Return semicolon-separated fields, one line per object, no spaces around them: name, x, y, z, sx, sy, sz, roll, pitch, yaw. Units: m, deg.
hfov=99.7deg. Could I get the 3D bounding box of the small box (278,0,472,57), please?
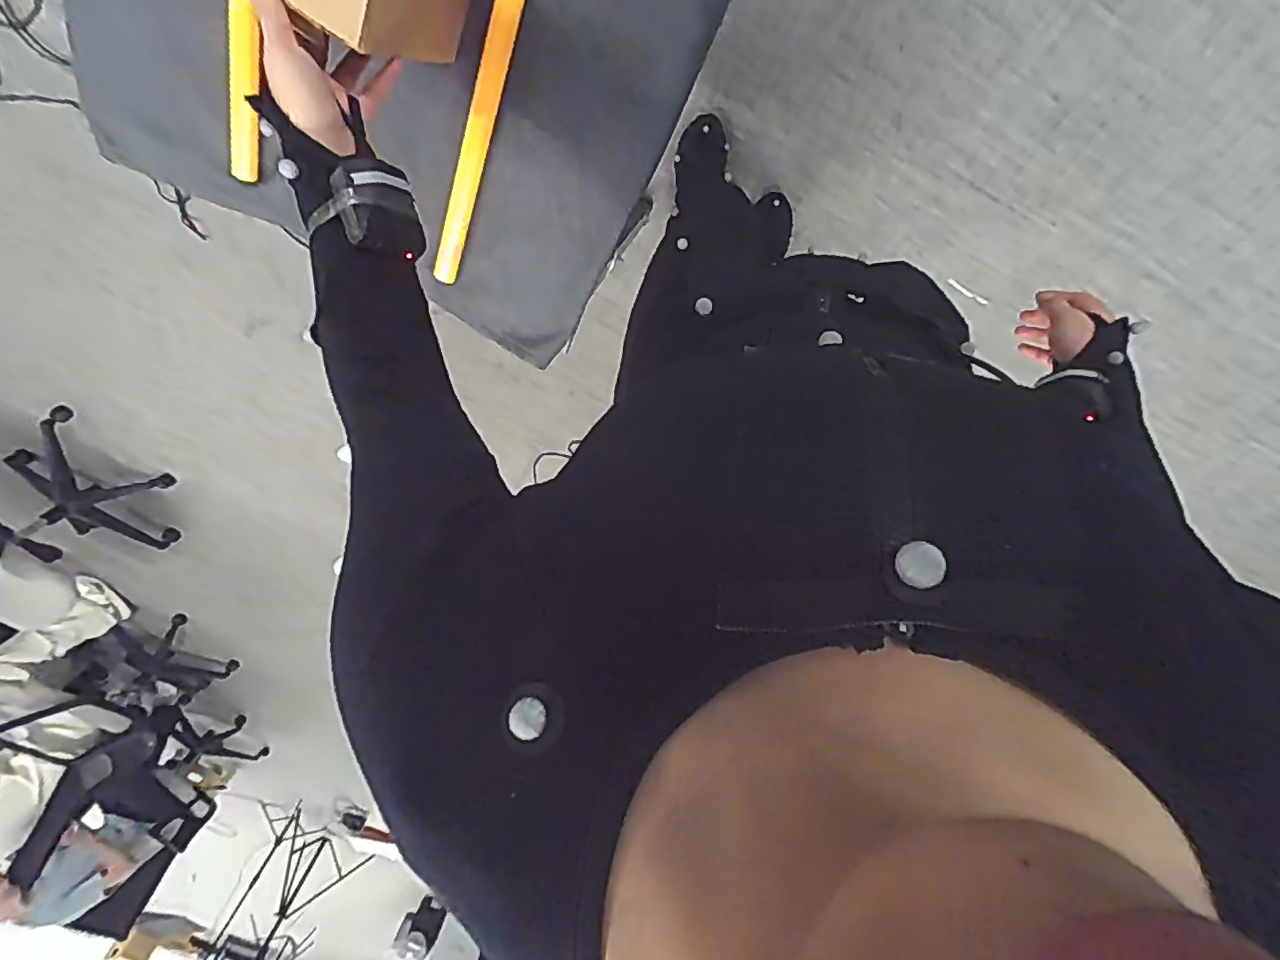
small box;-0.226;-0.468;0.418;0.168;0.176;0.179;29;125;-10
